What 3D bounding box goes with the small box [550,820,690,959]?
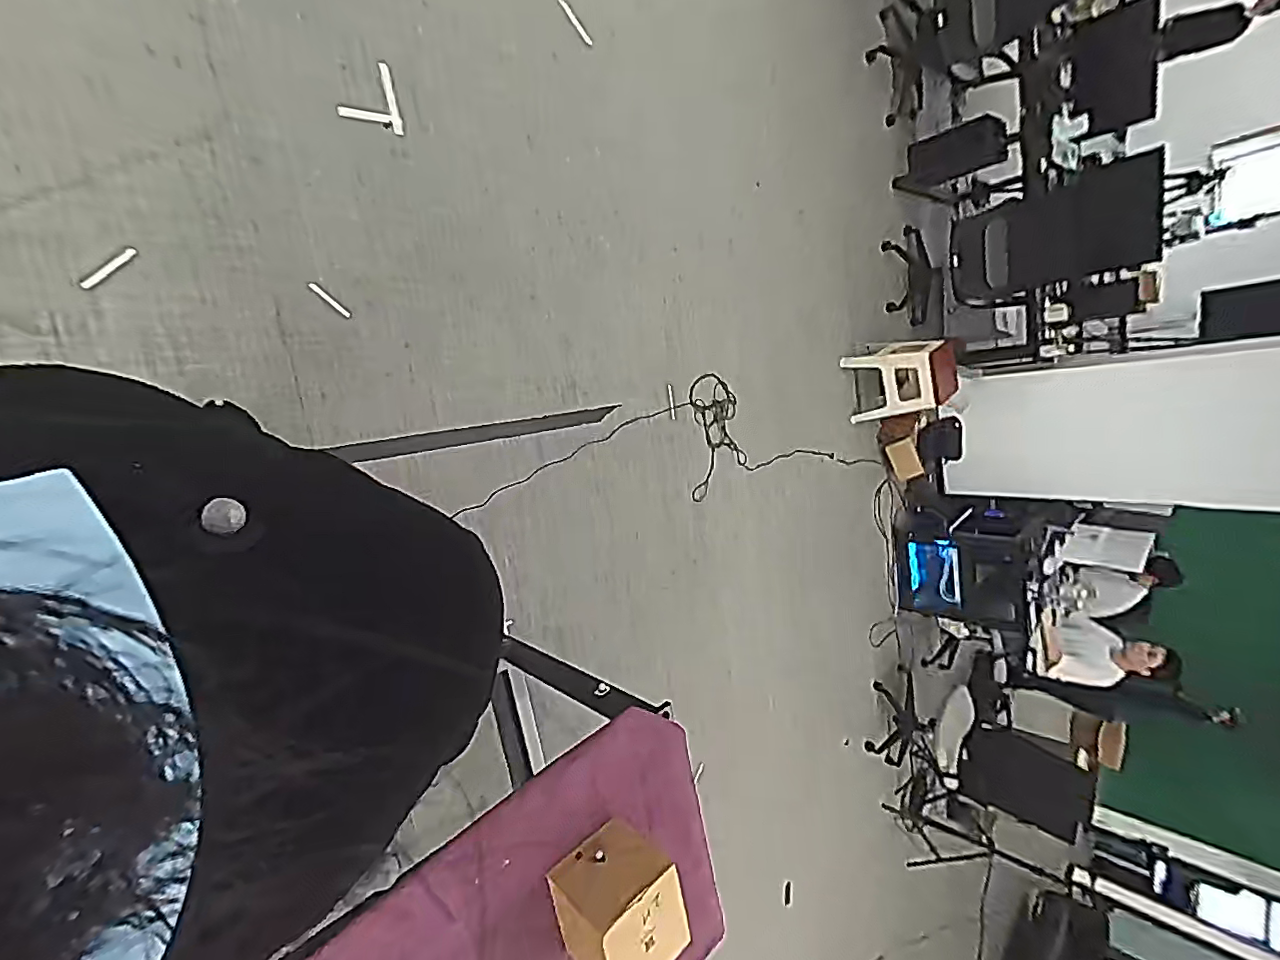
[{"bbox_3d":[-0.037,0.761,0.962,0.168,0.176,0.179,-20,104,-39],"label":"small box"}]
